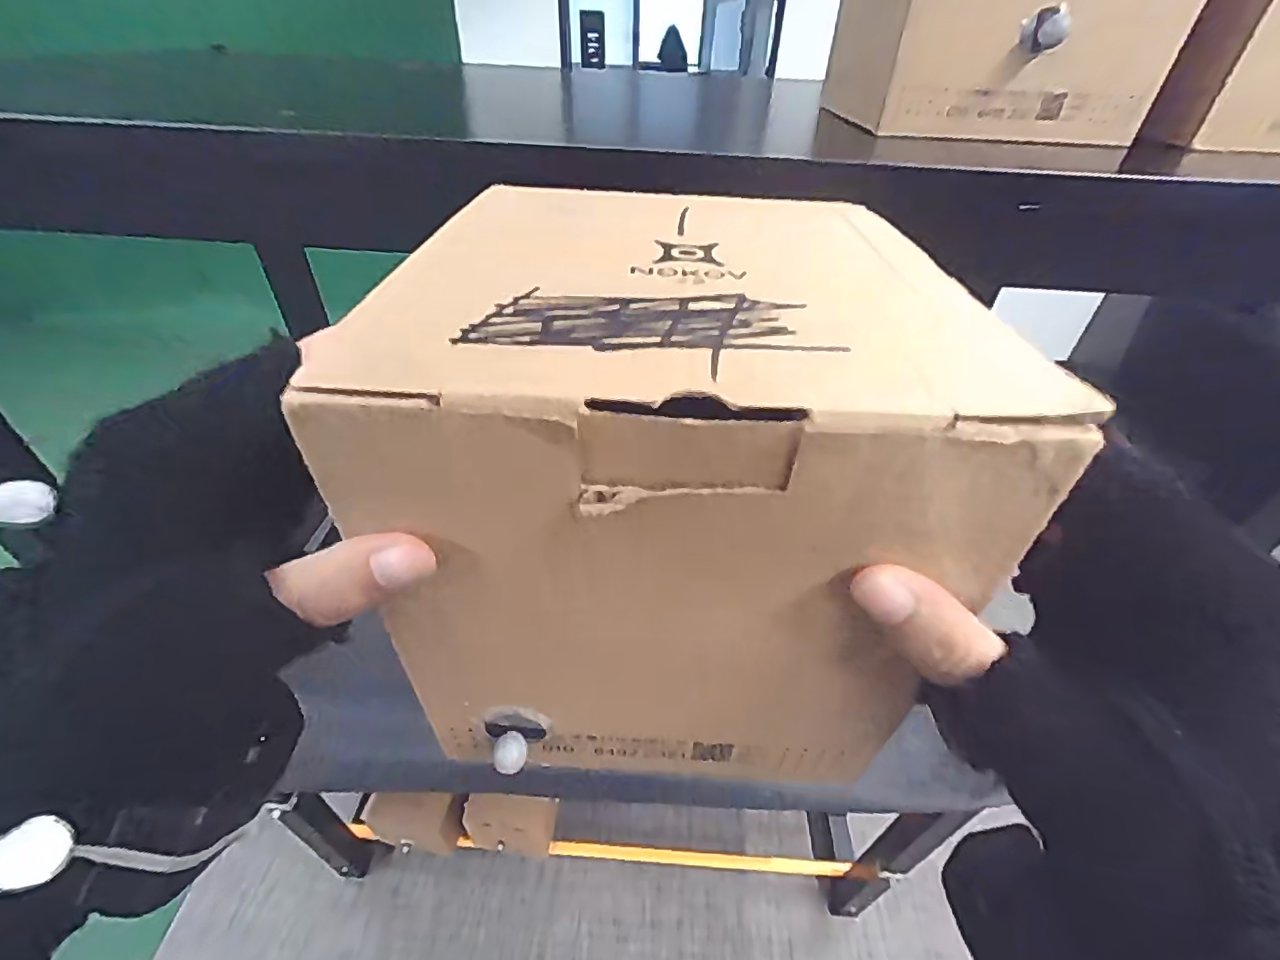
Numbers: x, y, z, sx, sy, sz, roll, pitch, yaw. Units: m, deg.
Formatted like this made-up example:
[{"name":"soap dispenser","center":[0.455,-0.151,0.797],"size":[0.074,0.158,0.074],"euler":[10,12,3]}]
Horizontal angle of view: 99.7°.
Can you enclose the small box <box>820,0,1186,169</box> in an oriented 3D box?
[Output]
[{"name":"small box","center":[0.240,-0.333,0.379],"size":[0.168,0.176,0.179],"euler":[3,39,1]}]
